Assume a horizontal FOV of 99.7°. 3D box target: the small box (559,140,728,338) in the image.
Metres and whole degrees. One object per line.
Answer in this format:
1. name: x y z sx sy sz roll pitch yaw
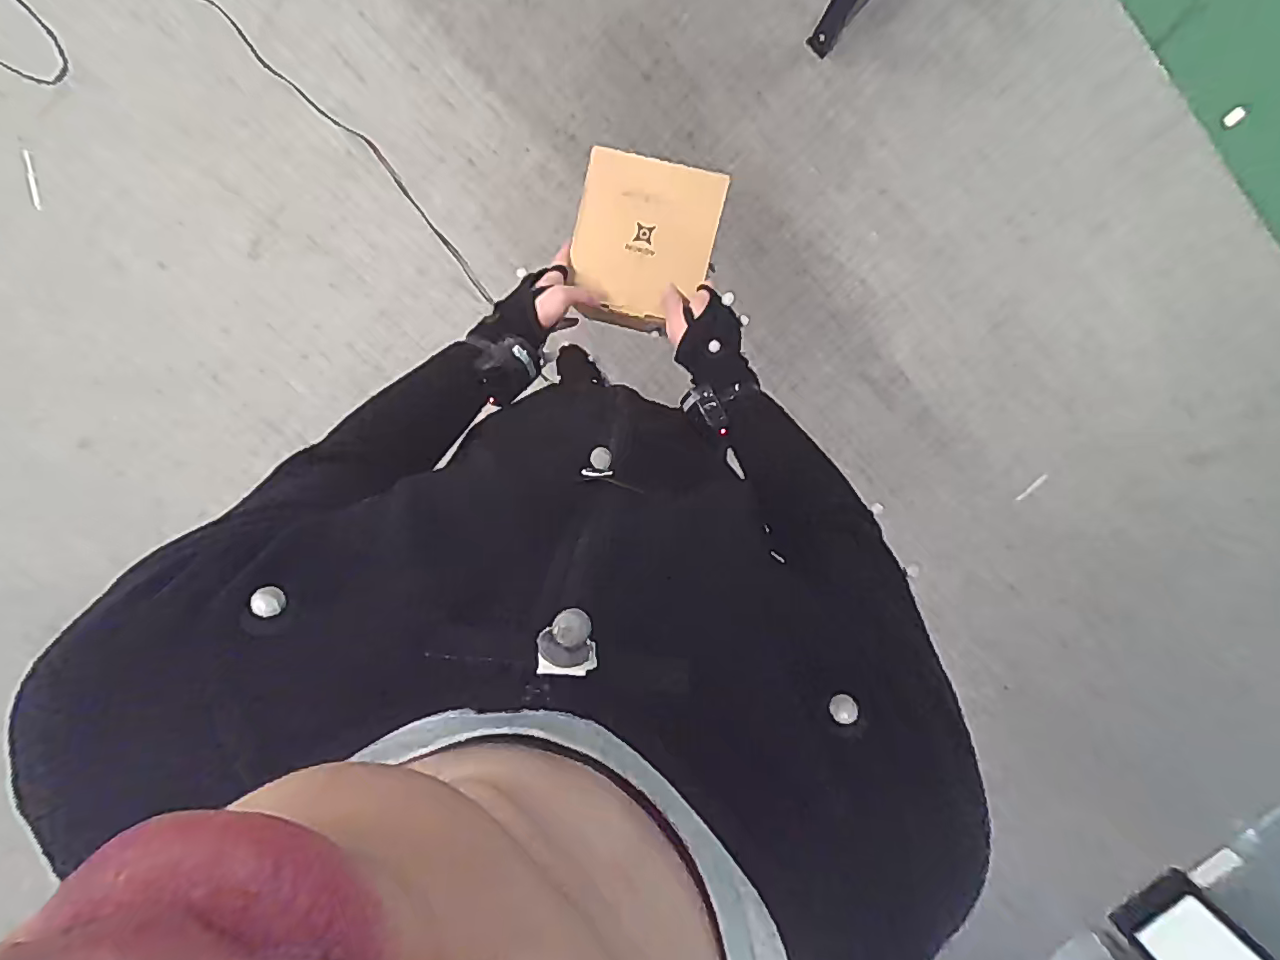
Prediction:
1. small box: 0.007 -0.292 0.698 0.168 0.176 0.179 14 97 1
